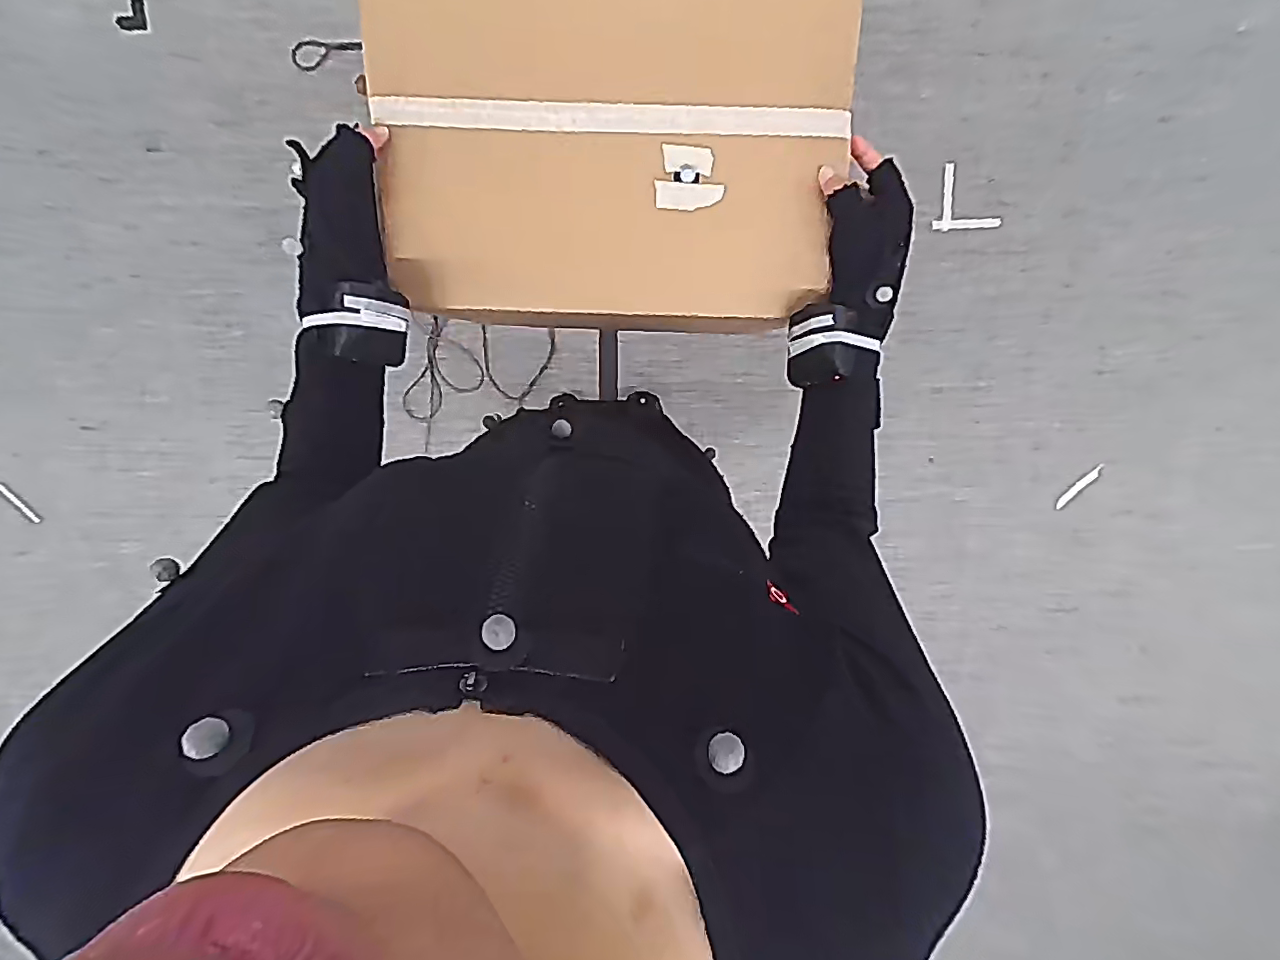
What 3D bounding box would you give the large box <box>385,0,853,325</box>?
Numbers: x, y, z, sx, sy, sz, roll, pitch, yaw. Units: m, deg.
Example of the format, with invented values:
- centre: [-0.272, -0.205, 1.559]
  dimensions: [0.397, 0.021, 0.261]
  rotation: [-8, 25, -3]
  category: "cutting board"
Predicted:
- centre: [-0.022, -0.348, 0.622]
  dimensions: [0.408, 0.320, 0.320]
  rotation: [1, 104, -1]
  category: "large box"
